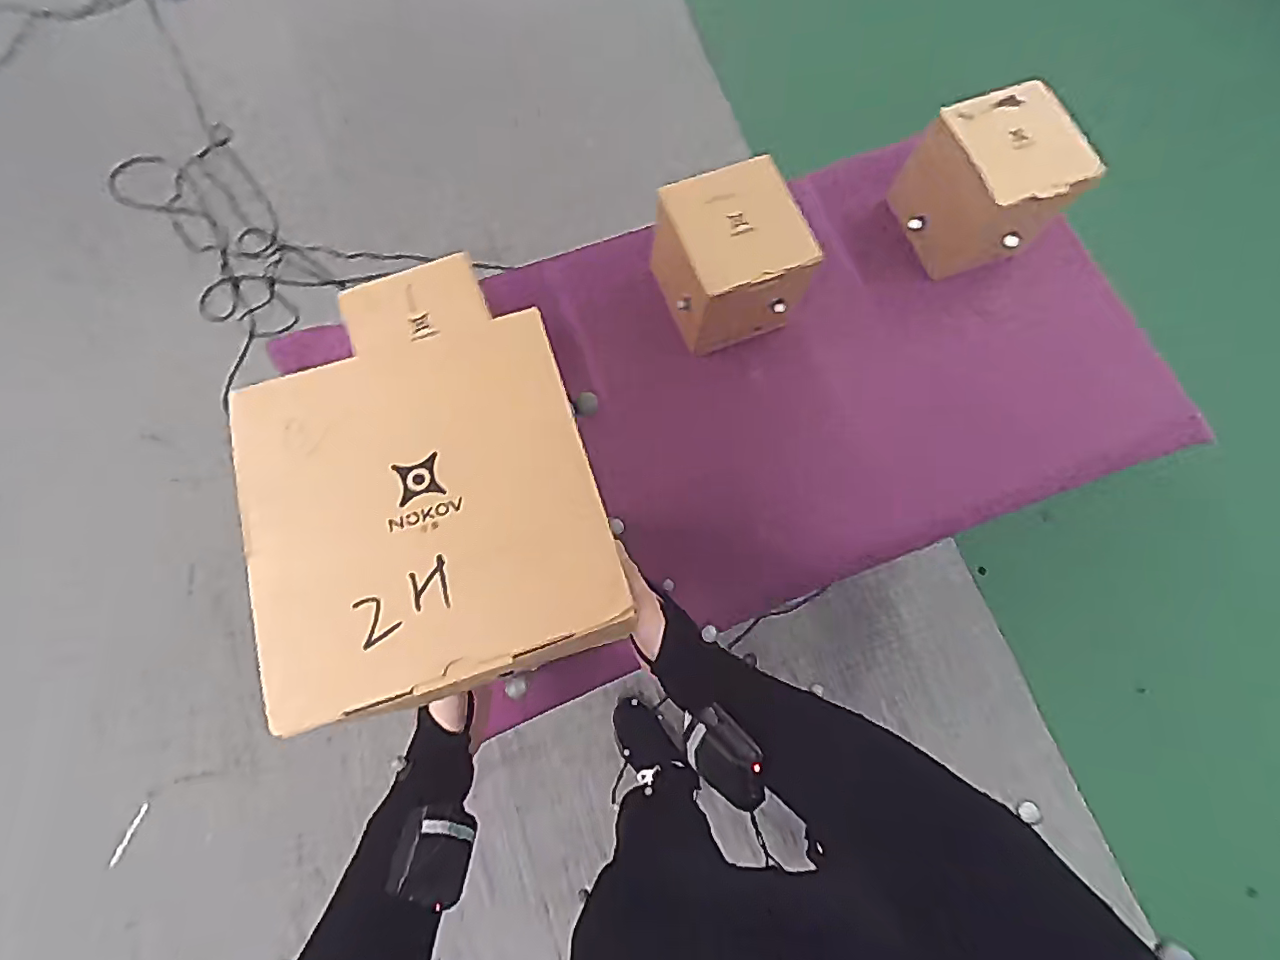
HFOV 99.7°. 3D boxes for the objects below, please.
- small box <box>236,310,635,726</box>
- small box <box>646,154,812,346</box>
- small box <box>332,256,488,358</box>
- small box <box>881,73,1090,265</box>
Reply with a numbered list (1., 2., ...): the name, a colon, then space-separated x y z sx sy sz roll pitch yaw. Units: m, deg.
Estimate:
1. small box: -0.107 0.031 0.340 0.168 0.176 0.179 -18 74 -5
2. small box: 0.116 -0.317 0.783 0.168 0.176 0.179 -21 77 -7
3. small box: -0.273 -0.157 0.733 0.168 0.176 0.179 -23 77 -7
4. small box: 0.507 -0.455 0.822 0.168 0.176 0.179 -20 78 -6
